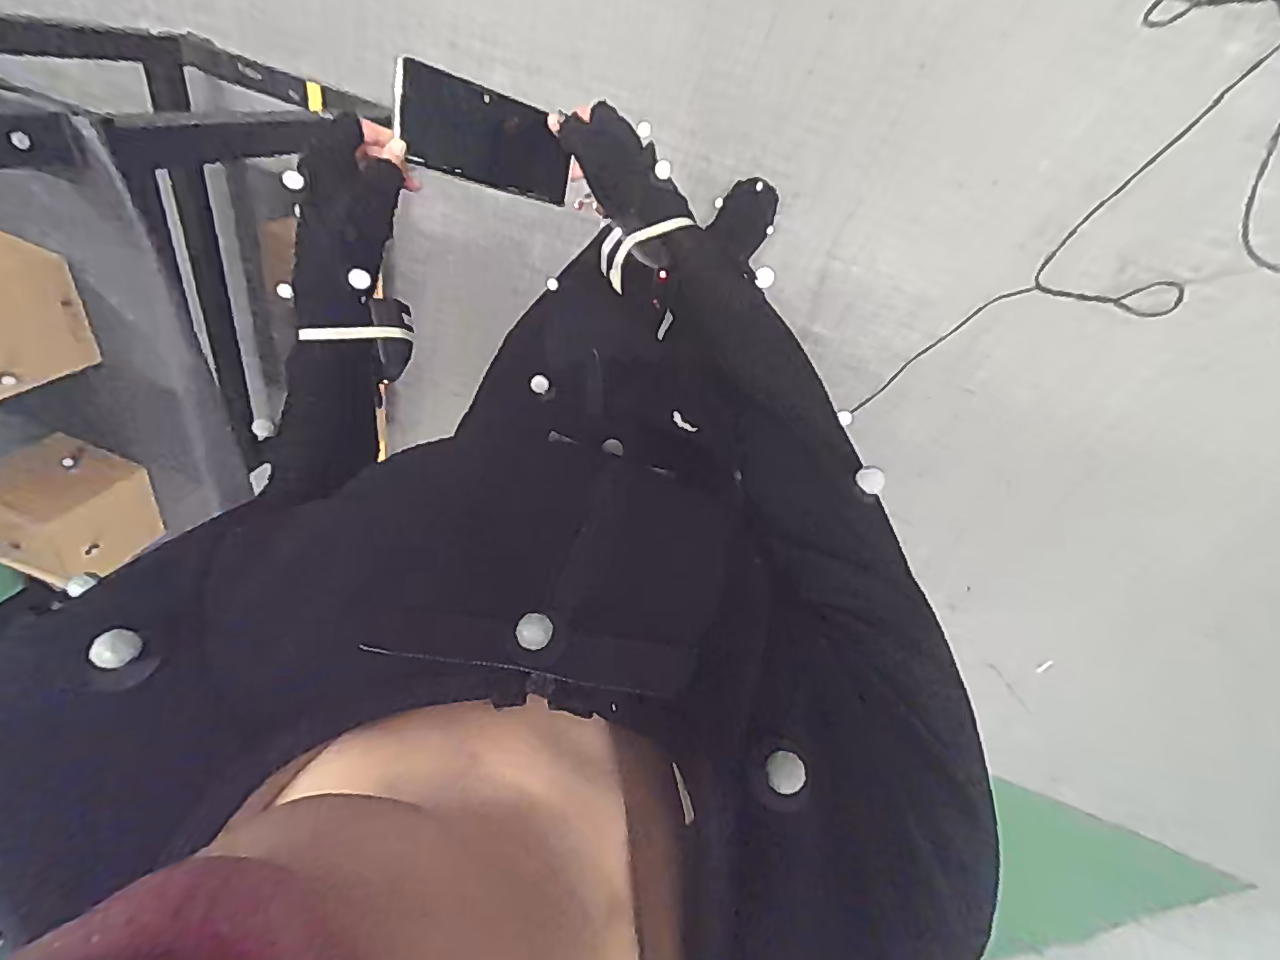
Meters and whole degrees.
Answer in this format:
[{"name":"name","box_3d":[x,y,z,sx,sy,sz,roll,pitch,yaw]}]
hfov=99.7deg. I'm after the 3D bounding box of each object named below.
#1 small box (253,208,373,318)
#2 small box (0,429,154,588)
[{"name":"small box","box_3d":[-0.745,-0.508,1.252,0.179,0.176,0.168,22,127,-2]},{"name":"small box","box_3d":[-0.995,0.045,0.929,0.168,0.176,0.179,22,127,-2]}]
